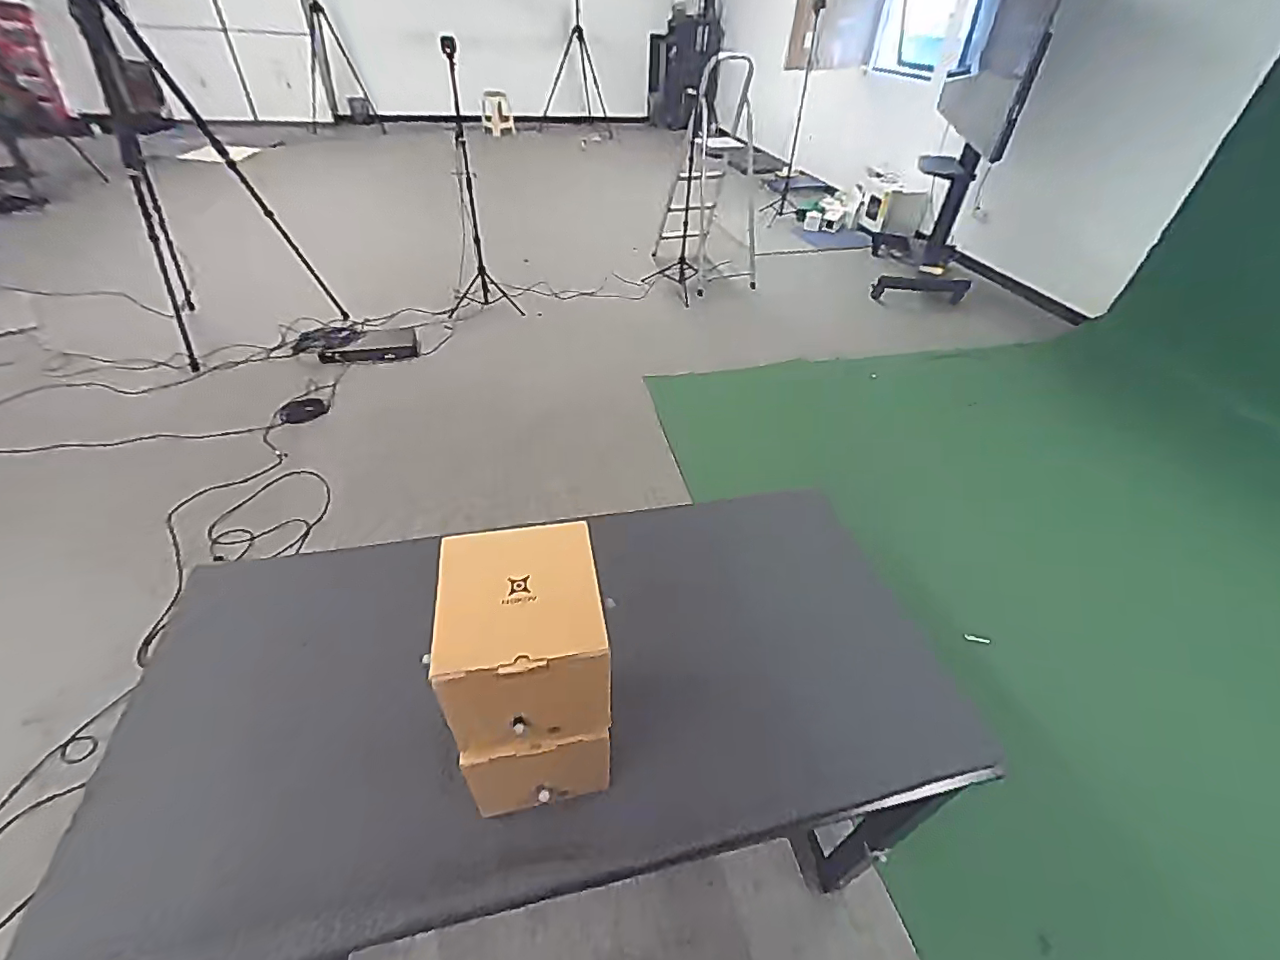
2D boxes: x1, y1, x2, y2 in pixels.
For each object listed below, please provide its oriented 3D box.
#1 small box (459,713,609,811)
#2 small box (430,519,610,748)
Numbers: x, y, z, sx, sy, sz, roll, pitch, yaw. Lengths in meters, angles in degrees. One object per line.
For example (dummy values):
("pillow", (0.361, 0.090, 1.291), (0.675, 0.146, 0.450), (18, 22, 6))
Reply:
("small box", (-0.136, 0.297, 0.709), (0.168, 0.176, 0.179), (-7, 42, -11))
("small box", (-0.129, 0.169, 0.610), (0.168, 0.176, 0.179), (-6, 42, -11))
